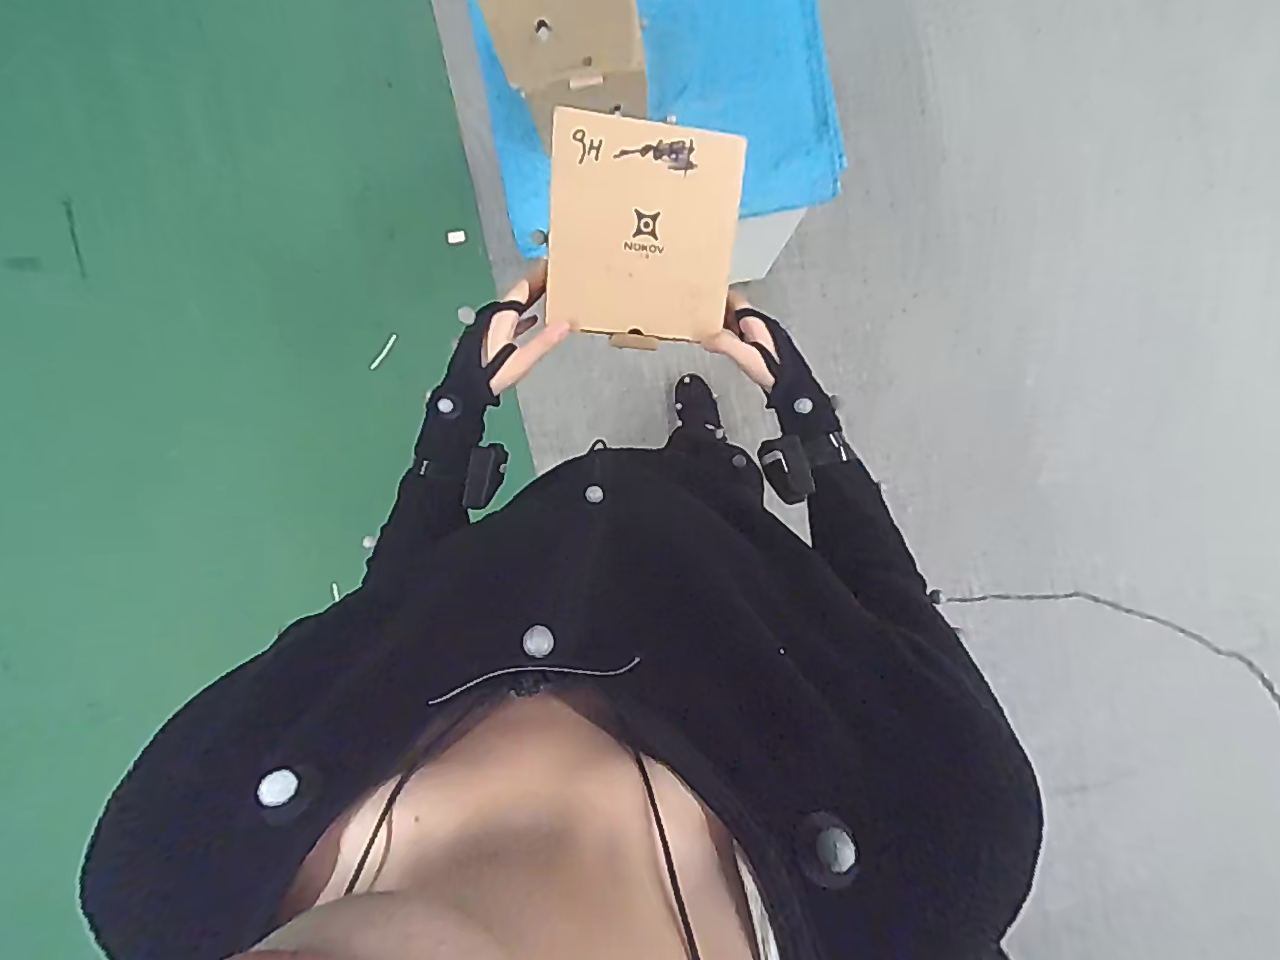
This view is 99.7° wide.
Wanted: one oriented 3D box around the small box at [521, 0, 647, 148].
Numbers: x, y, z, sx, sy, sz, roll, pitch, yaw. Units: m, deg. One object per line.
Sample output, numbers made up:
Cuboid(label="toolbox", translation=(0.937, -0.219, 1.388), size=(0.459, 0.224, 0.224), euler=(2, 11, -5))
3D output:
Cuboid(label="small box", translation=(-0.082, -0.606, 0.771), size=(0.168, 0.176, 0.179), euler=(-9, 93, 1))

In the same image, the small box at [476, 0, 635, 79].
Cuboid(label="small box", translation=(-0.098, -0.593, 0.610), size=(0.168, 0.176, 0.179), euler=(-8, 92, 1))
